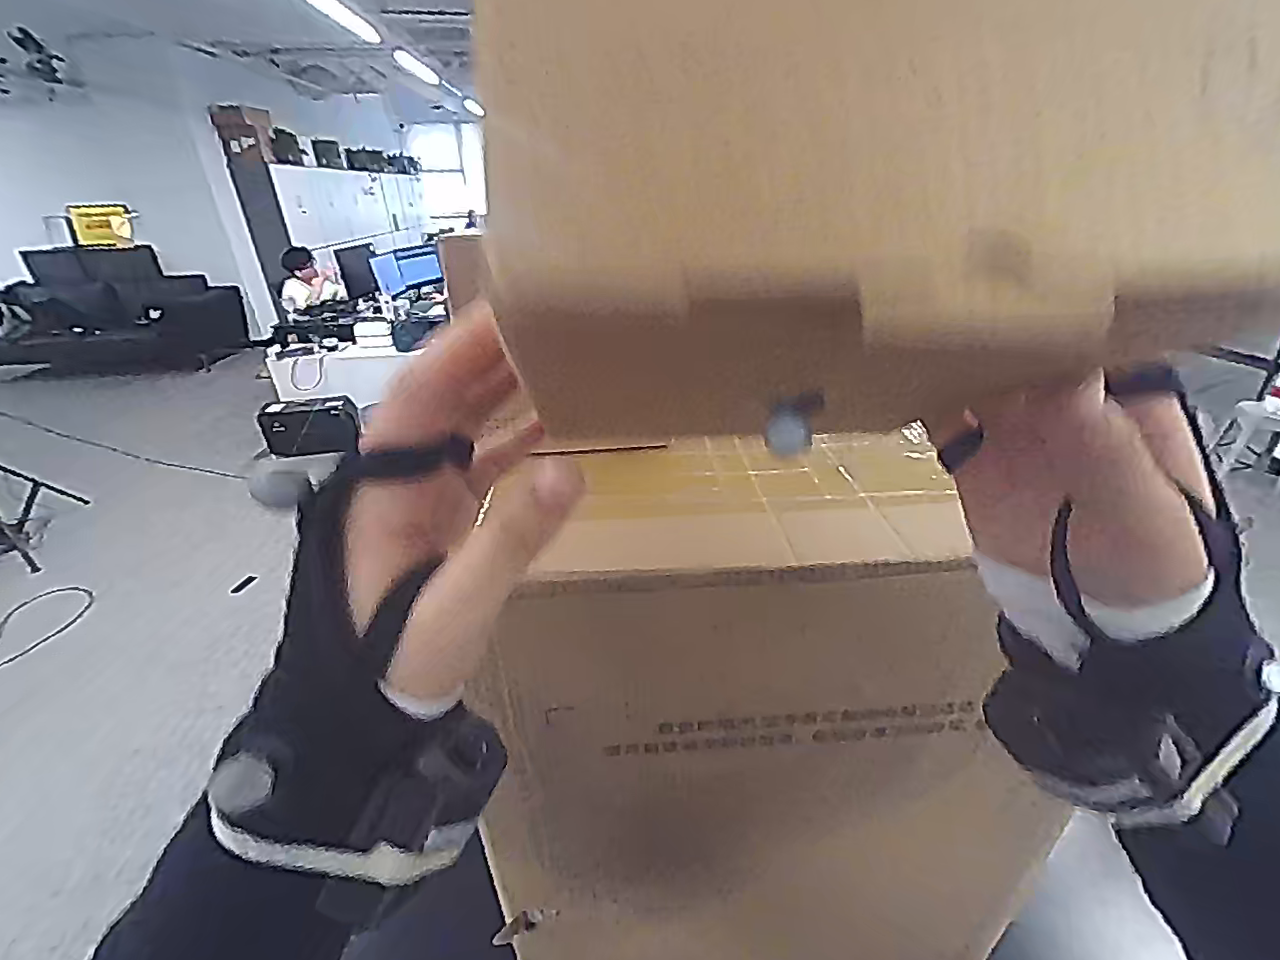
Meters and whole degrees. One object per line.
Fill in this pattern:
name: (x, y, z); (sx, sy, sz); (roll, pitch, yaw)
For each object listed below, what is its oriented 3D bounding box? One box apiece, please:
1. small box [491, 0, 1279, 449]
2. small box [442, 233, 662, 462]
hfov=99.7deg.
small box: (0.048, -0.102, 0.180); (0.168, 0.179, 0.176); (-2, -1, -6)
small box: (-0.064, -0.129, 0.487); (0.168, 0.176, 0.179); (-6, 28, -6)
